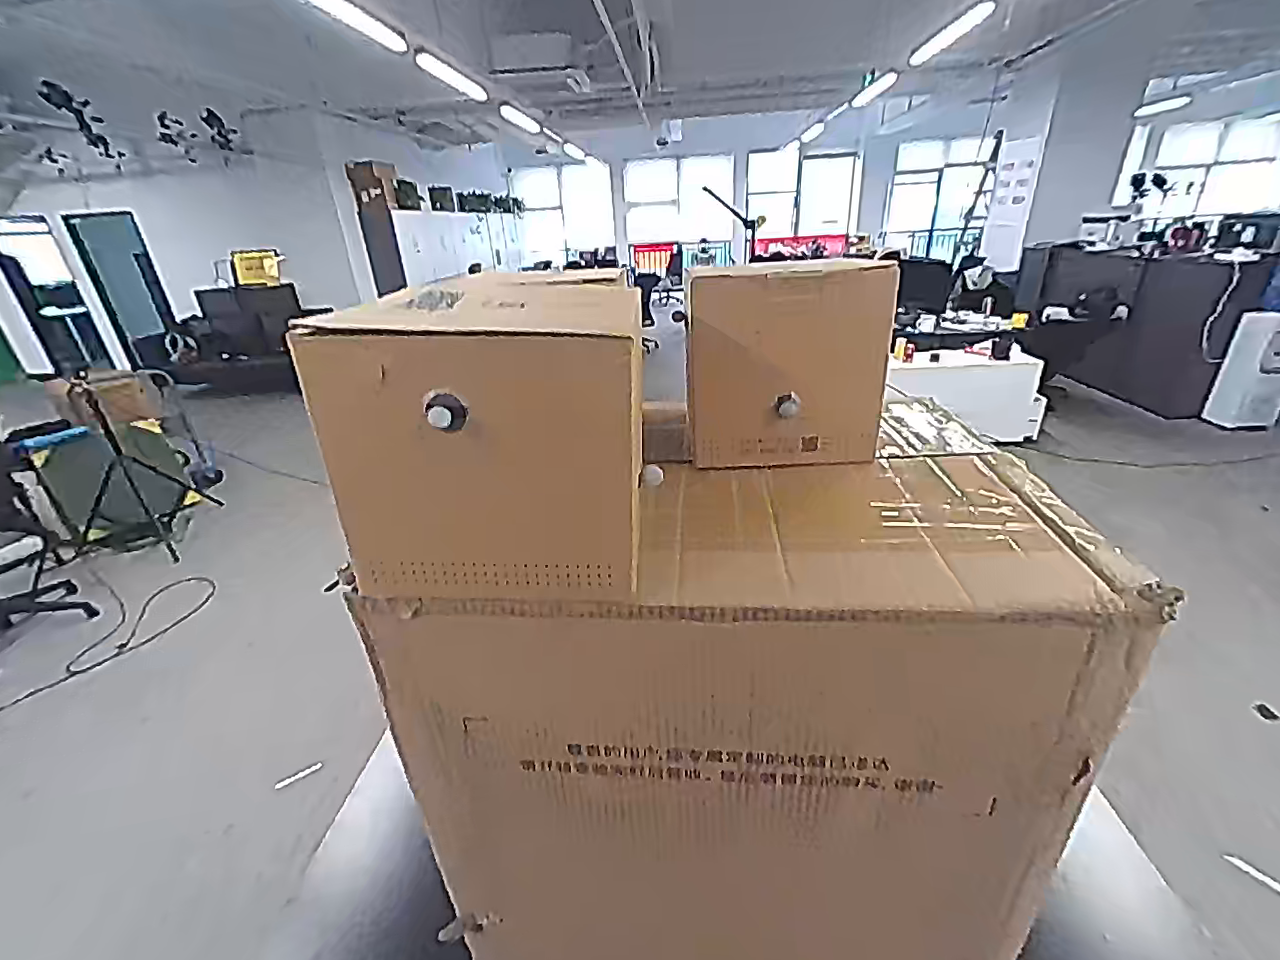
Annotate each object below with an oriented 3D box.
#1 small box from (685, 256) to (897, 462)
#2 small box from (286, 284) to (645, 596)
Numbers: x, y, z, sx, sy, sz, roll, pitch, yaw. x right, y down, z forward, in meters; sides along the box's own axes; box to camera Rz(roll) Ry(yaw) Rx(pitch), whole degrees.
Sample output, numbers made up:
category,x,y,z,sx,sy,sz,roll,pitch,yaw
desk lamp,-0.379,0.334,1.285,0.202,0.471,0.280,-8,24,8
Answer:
category,x,y,z,sx,sy,sz,roll,pitch,yaw
small box,0.129,-0.125,0.534,0.168,0.176,0.179,-3,24,4
small box,-0.087,-0.036,0.370,0.179,0.176,0.168,1,27,2
